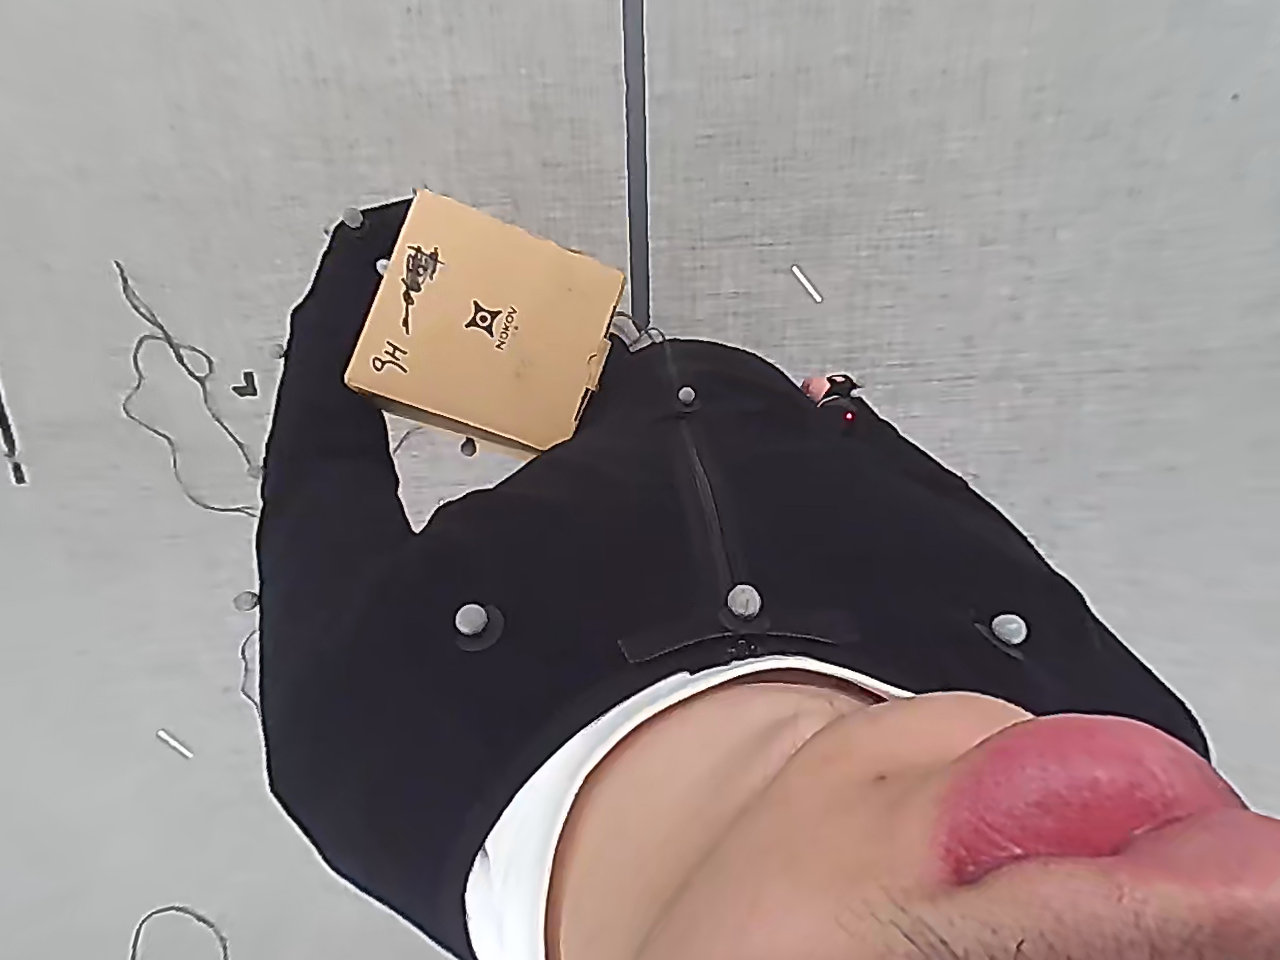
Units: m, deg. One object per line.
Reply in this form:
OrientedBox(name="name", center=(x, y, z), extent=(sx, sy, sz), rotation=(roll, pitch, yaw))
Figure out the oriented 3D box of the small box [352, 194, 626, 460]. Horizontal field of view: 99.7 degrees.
OrientedBox(name="small box", center=(-0.134, -0.121, 0.512), extent=(0.179, 0.176, 0.168), rotation=(19, 83, -13))
